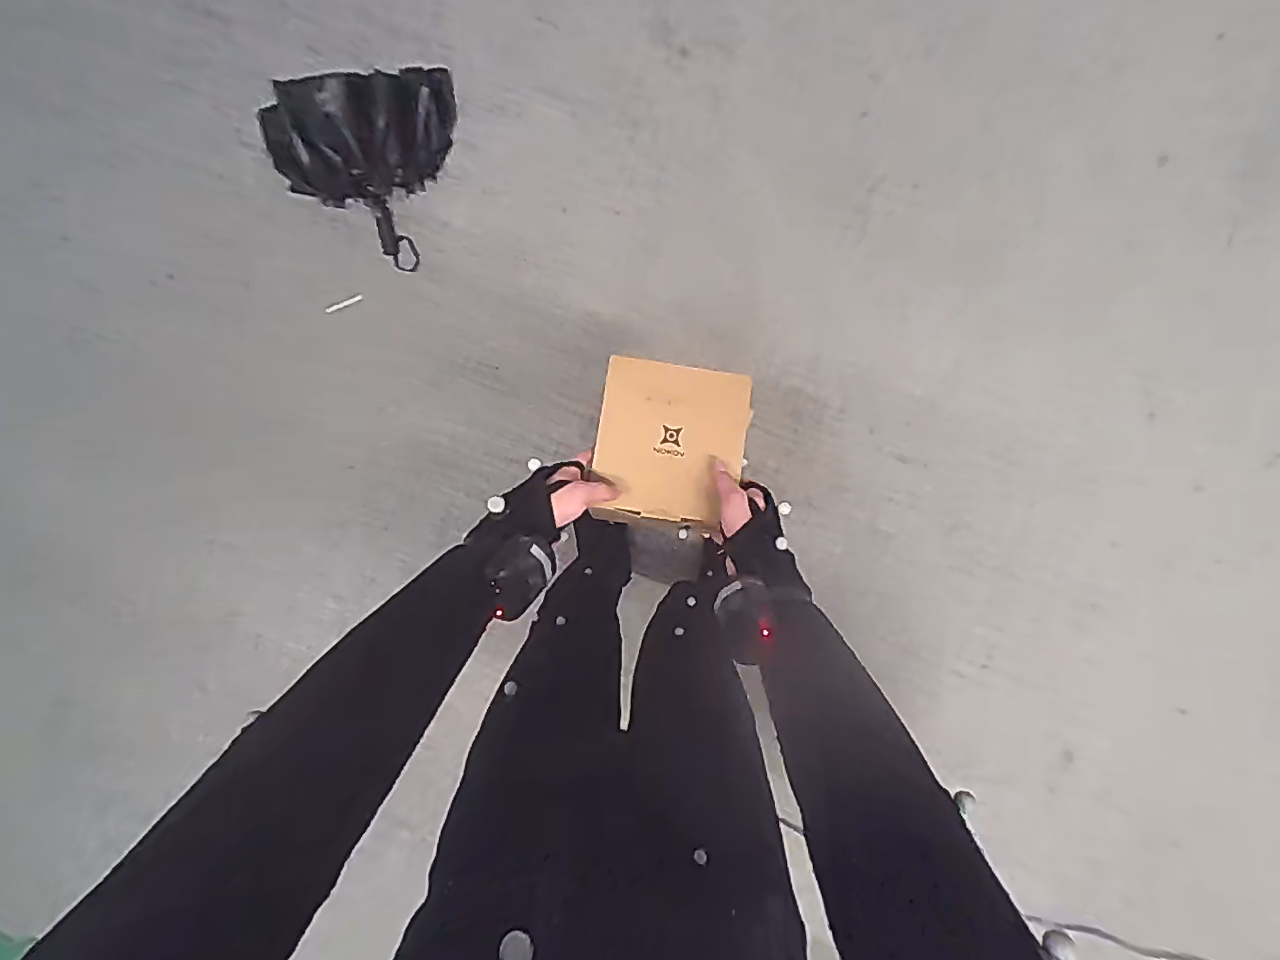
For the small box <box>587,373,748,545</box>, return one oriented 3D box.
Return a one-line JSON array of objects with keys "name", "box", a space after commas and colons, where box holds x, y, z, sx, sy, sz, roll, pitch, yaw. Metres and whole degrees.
[{"name": "small box", "box": [0.029, -0.015, 0.682, 0.168, 0.176, 0.179, 7, 80, -2]}]
